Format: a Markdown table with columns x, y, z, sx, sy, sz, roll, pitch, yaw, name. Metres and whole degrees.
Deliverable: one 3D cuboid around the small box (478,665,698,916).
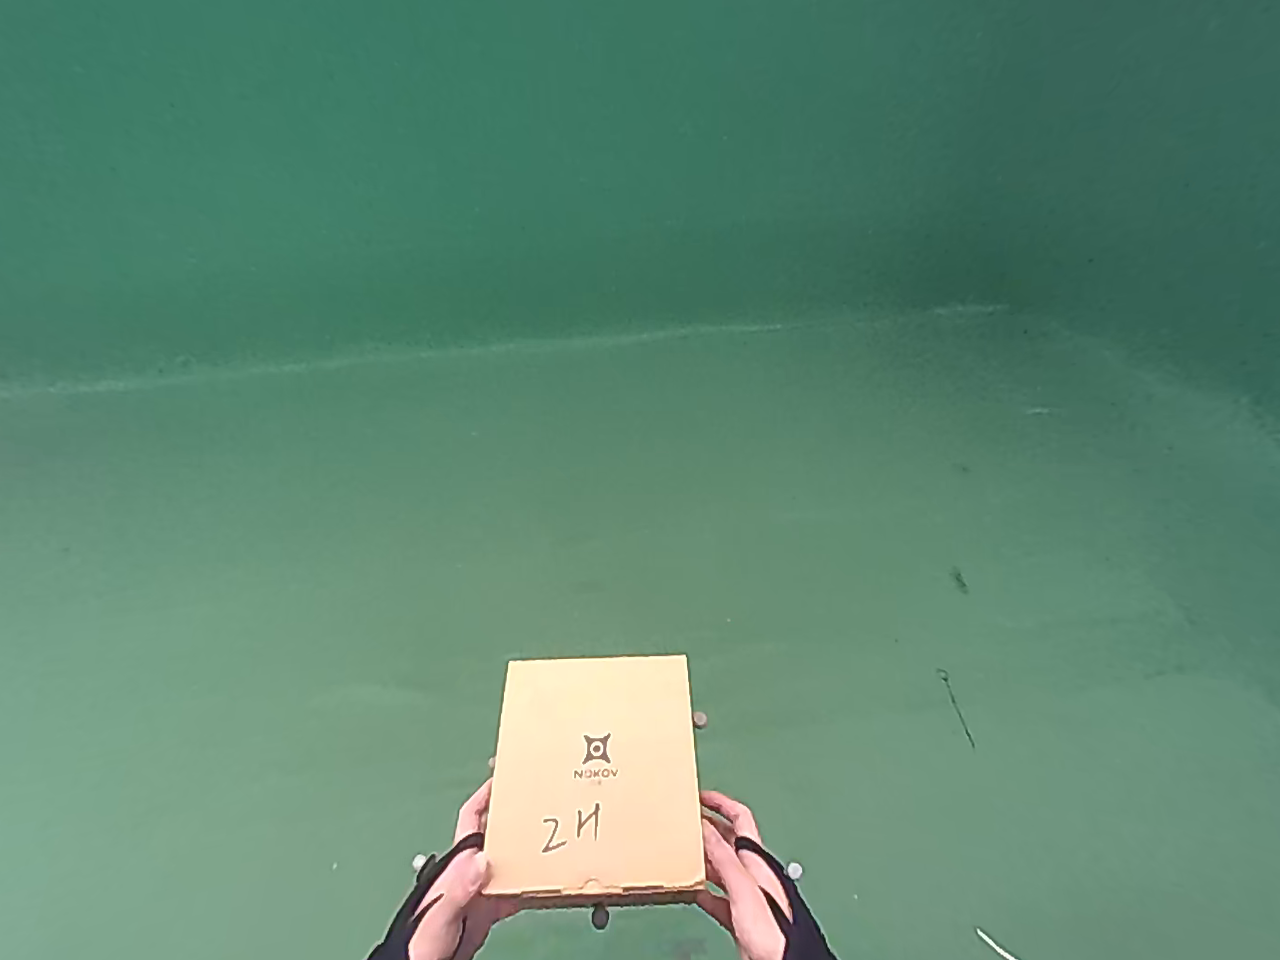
| x | y | z | sx | sy | sz | roll | pitch | yaw | name |
| --- | --- | --- | --- | --- | --- | --- | --- | --- | --- |
| -0.039 | 0.293 | 0.509 | 0.168 | 0.176 | 0.179 | -1 | 49 | 0 | small box |
